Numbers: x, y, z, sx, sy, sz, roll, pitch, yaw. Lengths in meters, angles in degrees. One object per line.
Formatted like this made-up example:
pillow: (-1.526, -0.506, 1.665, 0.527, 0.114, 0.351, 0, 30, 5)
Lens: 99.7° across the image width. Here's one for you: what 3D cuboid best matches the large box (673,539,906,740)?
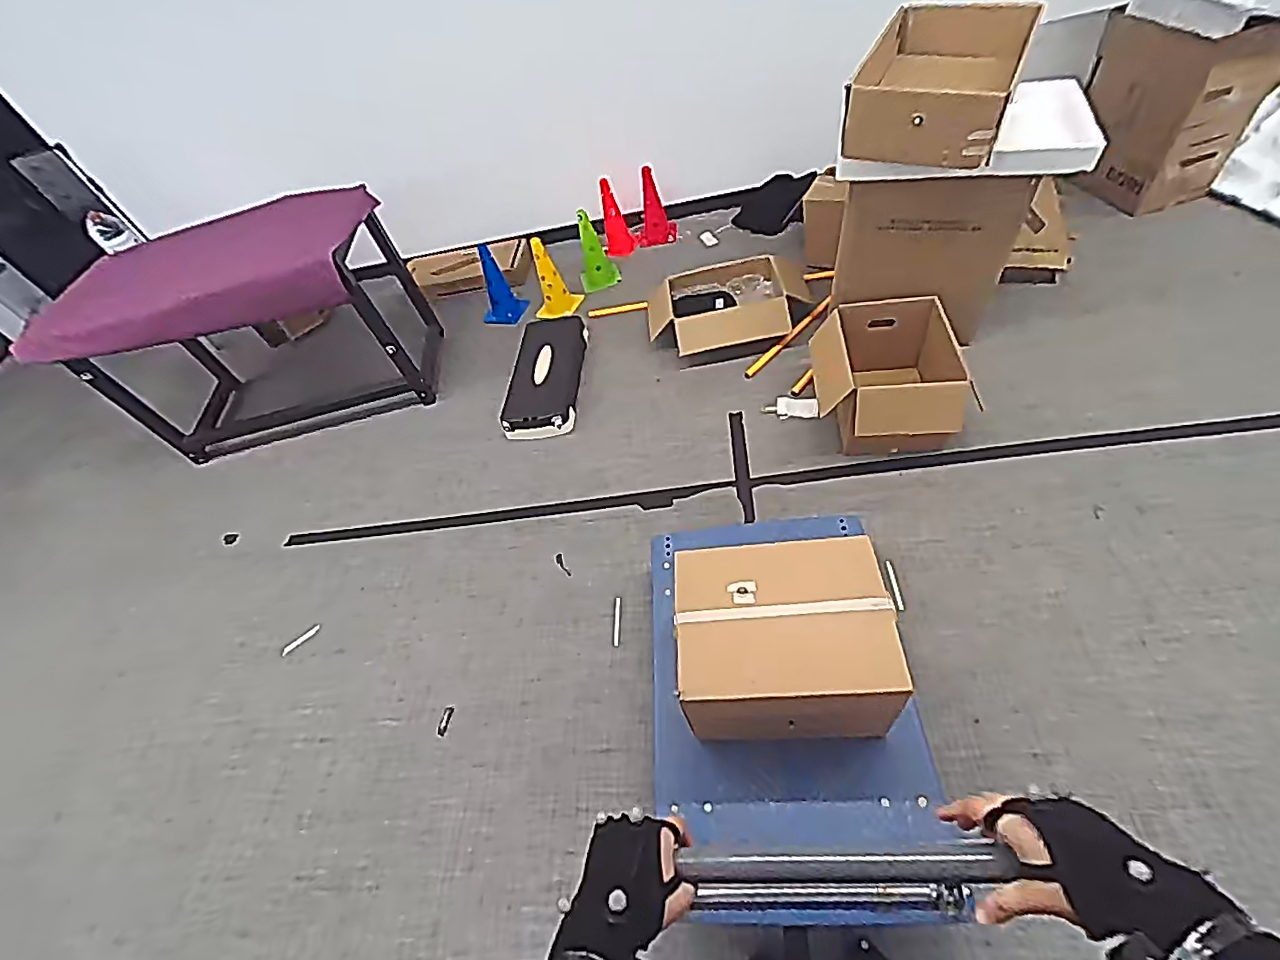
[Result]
large box: (0.299, 0.357, 1.170, 0.408, 0.320, 0.320, -7, 50, 10)
